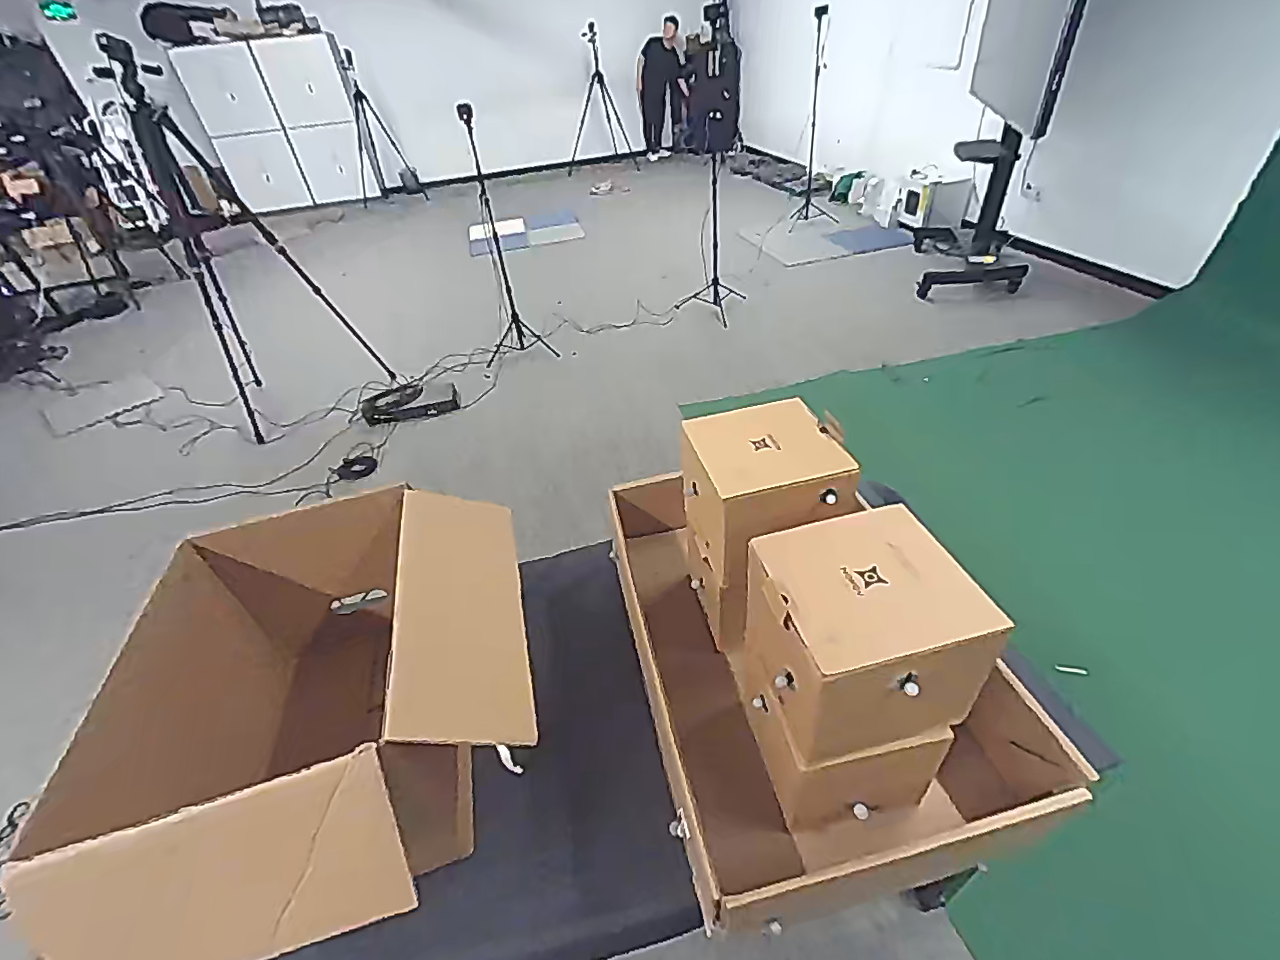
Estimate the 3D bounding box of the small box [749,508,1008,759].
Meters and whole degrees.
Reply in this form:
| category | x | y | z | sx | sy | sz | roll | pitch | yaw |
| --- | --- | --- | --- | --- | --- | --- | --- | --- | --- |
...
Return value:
| category | x | y | z | sx | sy | sz | roll | pitch | yaw |
| --- | --- | --- | --- | --- | --- | --- | --- | --- | --- |
| small box | 0.223 | 0.158 | 0.558 | 0.179 | 0.176 | 0.168 | -12 | 39 | -6 |

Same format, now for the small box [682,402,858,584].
| category | x | y | z | sx | sy | sz | roll | pitch | yaw |
| --- | --- | --- | --- | --- | --- | --- | --- | --- | --- |
| small box | 0.166 | 0.019 | 0.738 | 0.179 | 0.176 | 0.168 | -12 | 41 | -7 |
